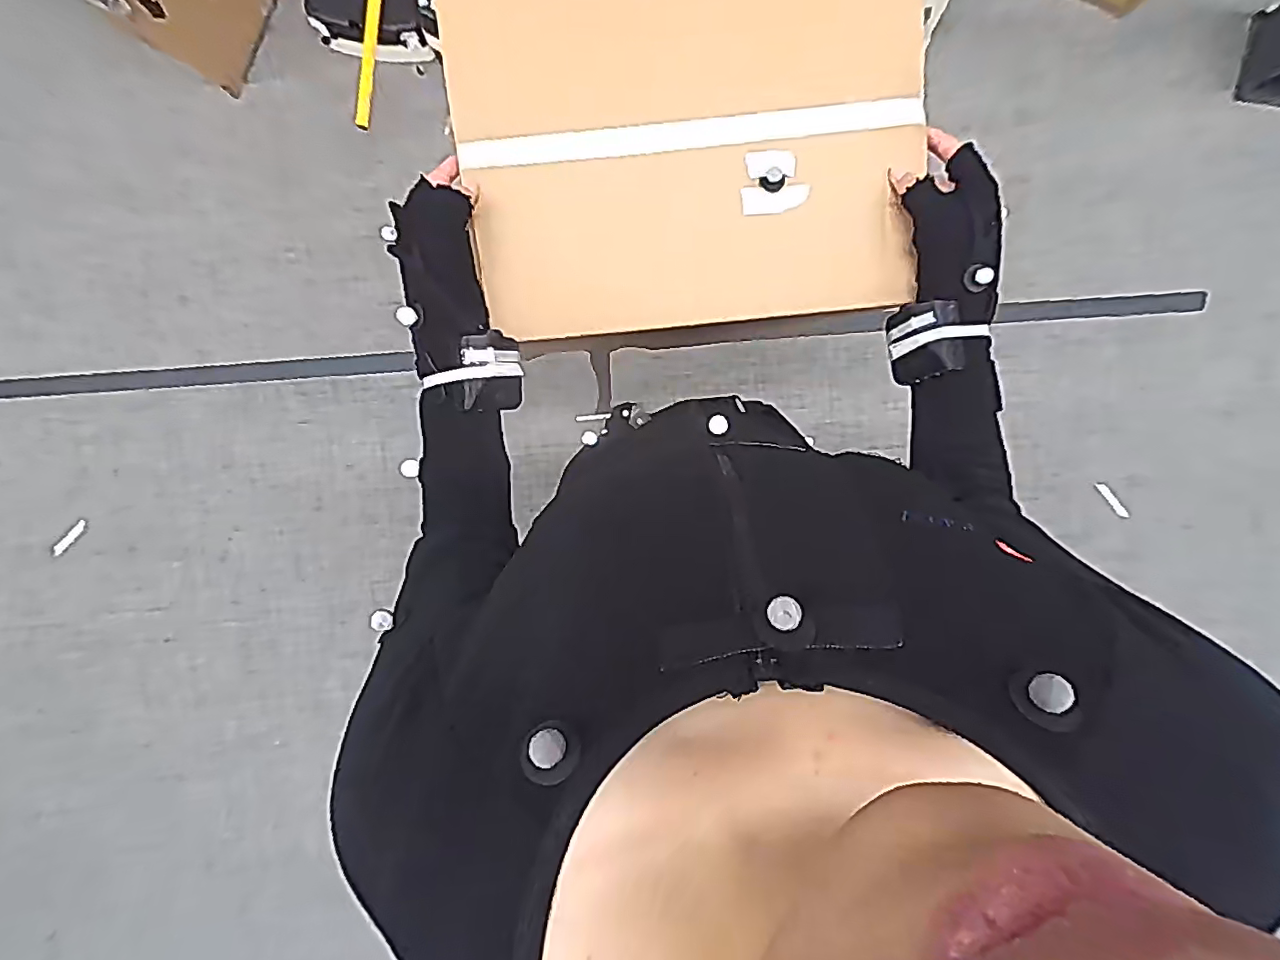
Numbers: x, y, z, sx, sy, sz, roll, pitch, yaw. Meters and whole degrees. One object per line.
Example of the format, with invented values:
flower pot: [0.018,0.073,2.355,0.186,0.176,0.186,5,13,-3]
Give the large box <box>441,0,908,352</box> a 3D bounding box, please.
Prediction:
large box: [0.035,-0.333,0.627,0.408,0.320,0.320,-6,101,-1]
